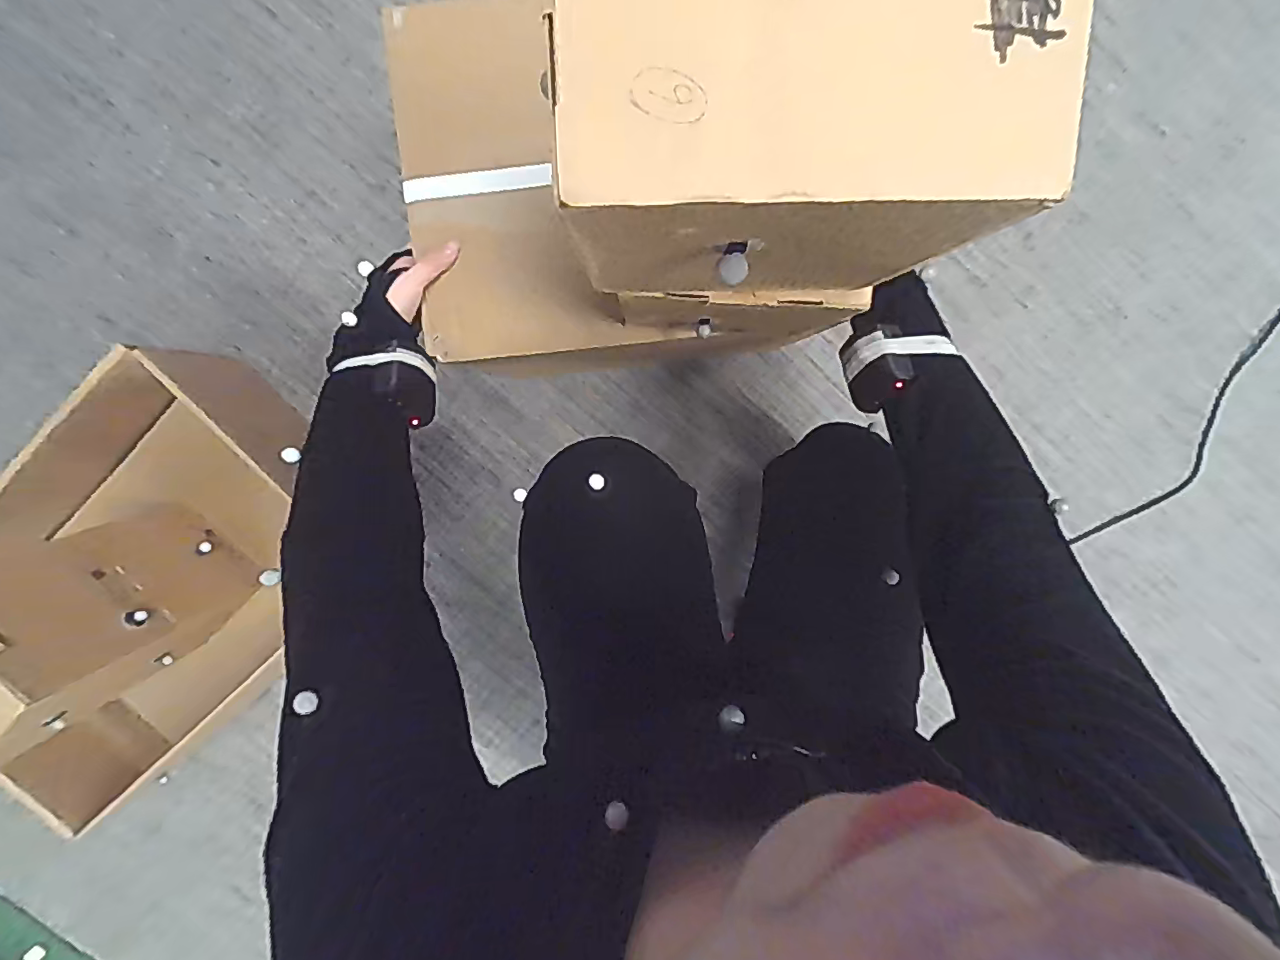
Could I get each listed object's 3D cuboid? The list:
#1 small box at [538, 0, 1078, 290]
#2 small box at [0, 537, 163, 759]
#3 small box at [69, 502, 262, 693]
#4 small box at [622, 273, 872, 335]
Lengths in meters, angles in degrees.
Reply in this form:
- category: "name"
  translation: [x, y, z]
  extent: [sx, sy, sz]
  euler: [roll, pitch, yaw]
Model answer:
- category: "small box"
  translation: [0.056, -0.186, 0.251]
  extent: [0.179, 0.176, 0.168]
  euler: [0, 101, 1]
- category: "small box"
  translation: [-0.697, 0.190, 0.601]
  extent: [0.179, 0.176, 0.168]
  euler: [-41, 97, 9]
- category: "small box"
  translation: [-0.694, 0.158, 0.762]
  extent: [0.179, 0.176, 0.168]
  euler: [-42, 97, 8]
- category: "small box"
  translation: [0.071, -0.213, 0.412]
  extent: [0.168, 0.176, 0.179]
  euler: [4, 100, 0]
